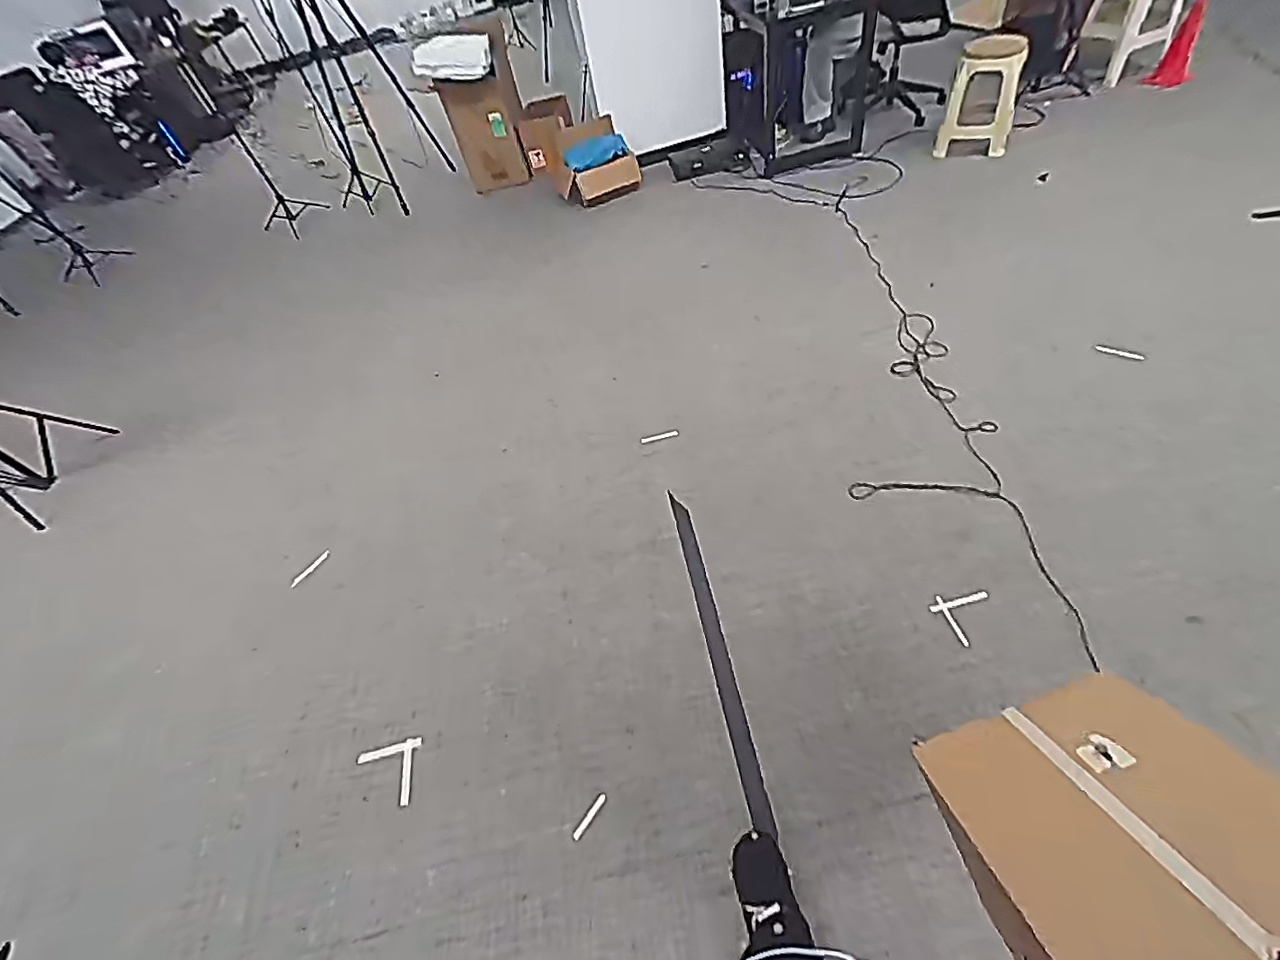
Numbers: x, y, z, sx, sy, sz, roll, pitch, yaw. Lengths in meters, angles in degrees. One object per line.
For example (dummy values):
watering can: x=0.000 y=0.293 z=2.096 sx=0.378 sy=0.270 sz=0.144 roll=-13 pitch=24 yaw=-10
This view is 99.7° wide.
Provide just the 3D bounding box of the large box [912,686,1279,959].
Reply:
large box: x=0.619 y=0.532 z=0.654 sx=0.320 sy=0.320 sz=0.408 roll=-24 pitch=5 yaw=6
